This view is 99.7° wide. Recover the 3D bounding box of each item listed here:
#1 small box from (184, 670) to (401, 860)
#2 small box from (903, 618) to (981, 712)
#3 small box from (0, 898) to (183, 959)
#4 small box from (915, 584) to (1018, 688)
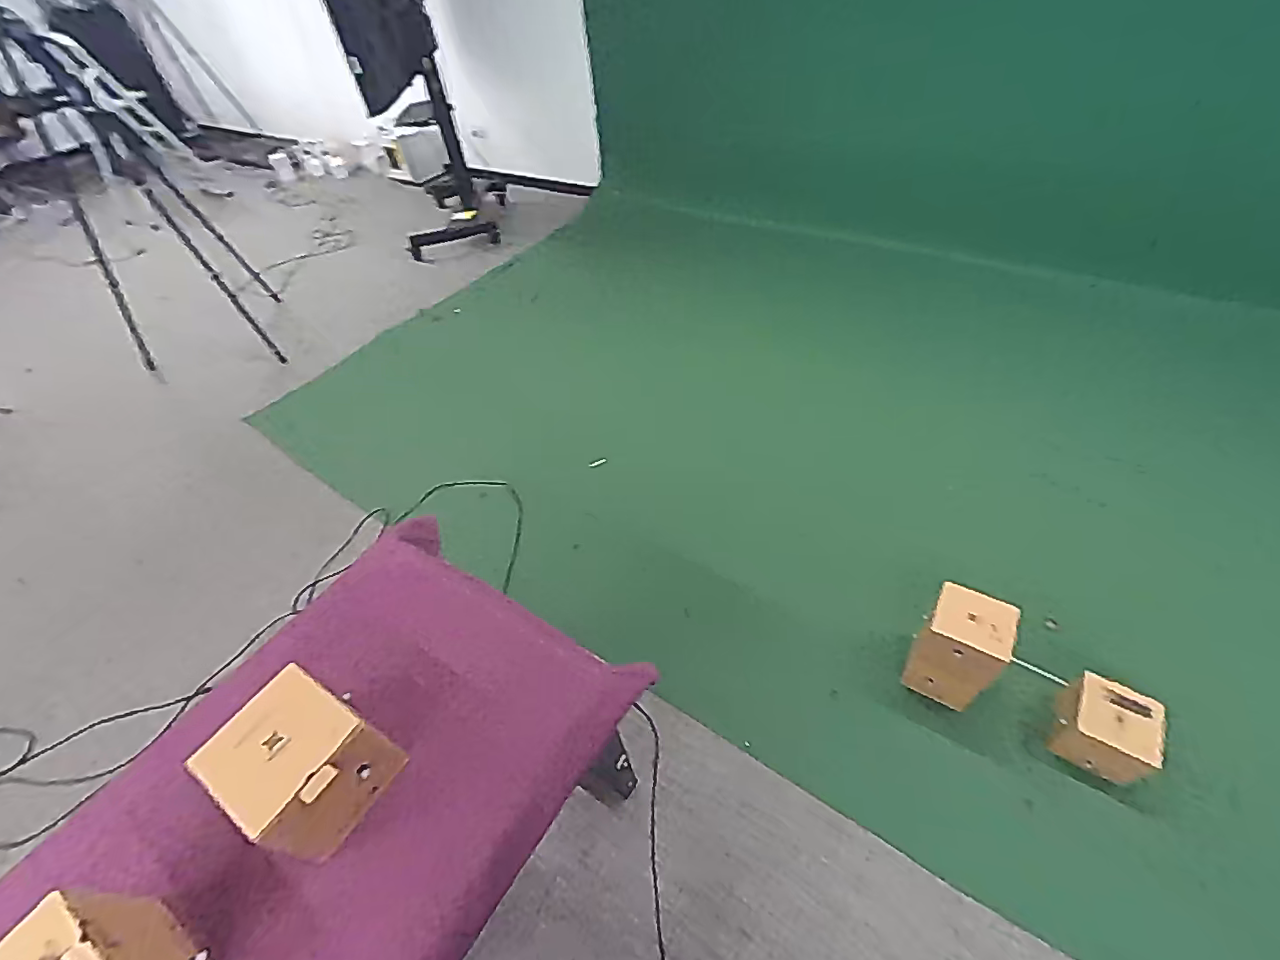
[{"bbox_3d":[-0.489,0.417,0.788,0.179,0.176,0.168,22,53,25],"label":"small box"},{"bbox_3d":[0.860,0.518,1.523,0.168,0.176,0.179,22,52,25],"label":"small box"},{"bbox_3d":[-0.657,0.626,0.613,0.168,0.176,0.179,21,54,24],"label":"small box"},{"bbox_3d":[0.840,0.408,1.402,0.179,0.176,0.168,22,53,25],"label":"small box"}]
